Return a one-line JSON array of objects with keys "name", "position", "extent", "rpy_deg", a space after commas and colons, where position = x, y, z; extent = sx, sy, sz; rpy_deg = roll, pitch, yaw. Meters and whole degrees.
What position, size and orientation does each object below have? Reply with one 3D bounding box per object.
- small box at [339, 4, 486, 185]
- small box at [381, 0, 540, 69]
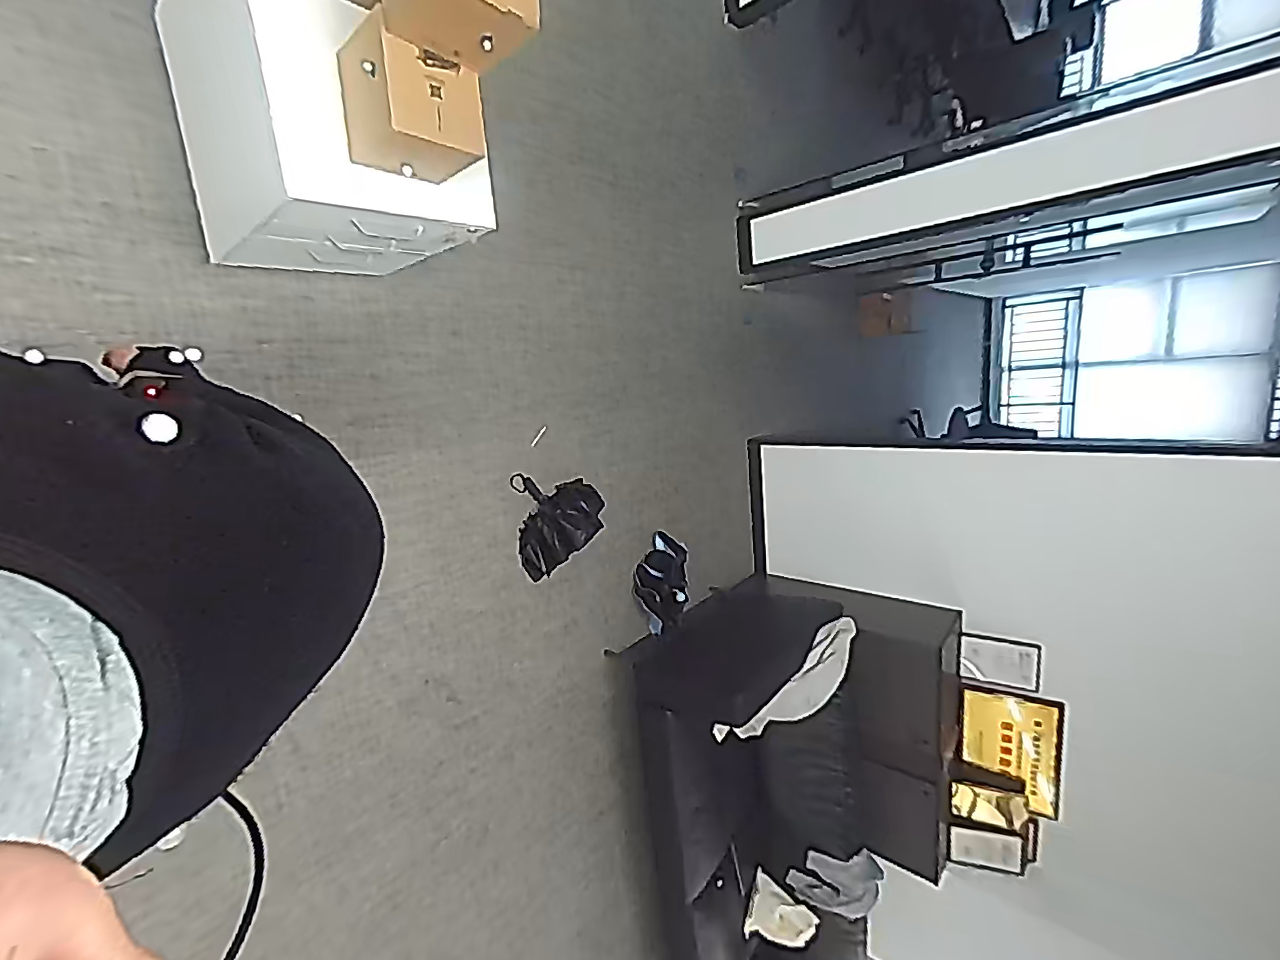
[{"name": "small box", "position": [-0.385, -0.630, 0.913], "extent": [0.168, 0.176, 0.179], "rpy_deg": [-14, 105, -47]}, {"name": "small box", "position": [-0.269, -0.751, 0.787], "extent": [0.168, 0.176, 0.179], "rpy_deg": [-15, 104, -48]}]
